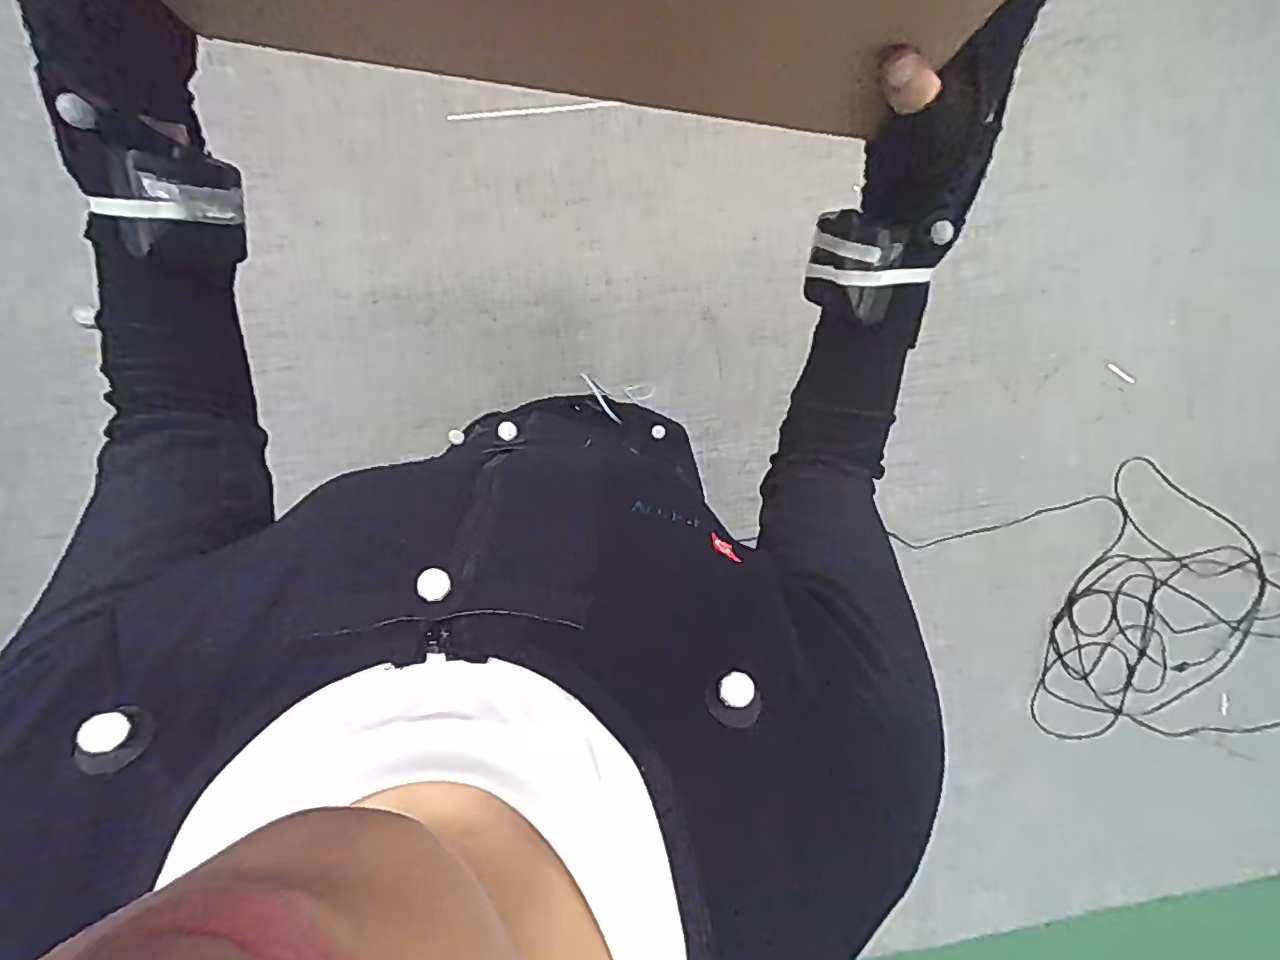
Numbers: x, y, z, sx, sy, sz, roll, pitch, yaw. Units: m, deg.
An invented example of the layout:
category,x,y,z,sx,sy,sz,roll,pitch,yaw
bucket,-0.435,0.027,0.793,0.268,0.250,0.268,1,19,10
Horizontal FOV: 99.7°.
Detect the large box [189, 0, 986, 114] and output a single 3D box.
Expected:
category,x,y,z,sx,sy,sz,roll,pitch,yaw
large box,-0.027,-0.365,0.150,0.408,0.320,0.320,7,99,-3
